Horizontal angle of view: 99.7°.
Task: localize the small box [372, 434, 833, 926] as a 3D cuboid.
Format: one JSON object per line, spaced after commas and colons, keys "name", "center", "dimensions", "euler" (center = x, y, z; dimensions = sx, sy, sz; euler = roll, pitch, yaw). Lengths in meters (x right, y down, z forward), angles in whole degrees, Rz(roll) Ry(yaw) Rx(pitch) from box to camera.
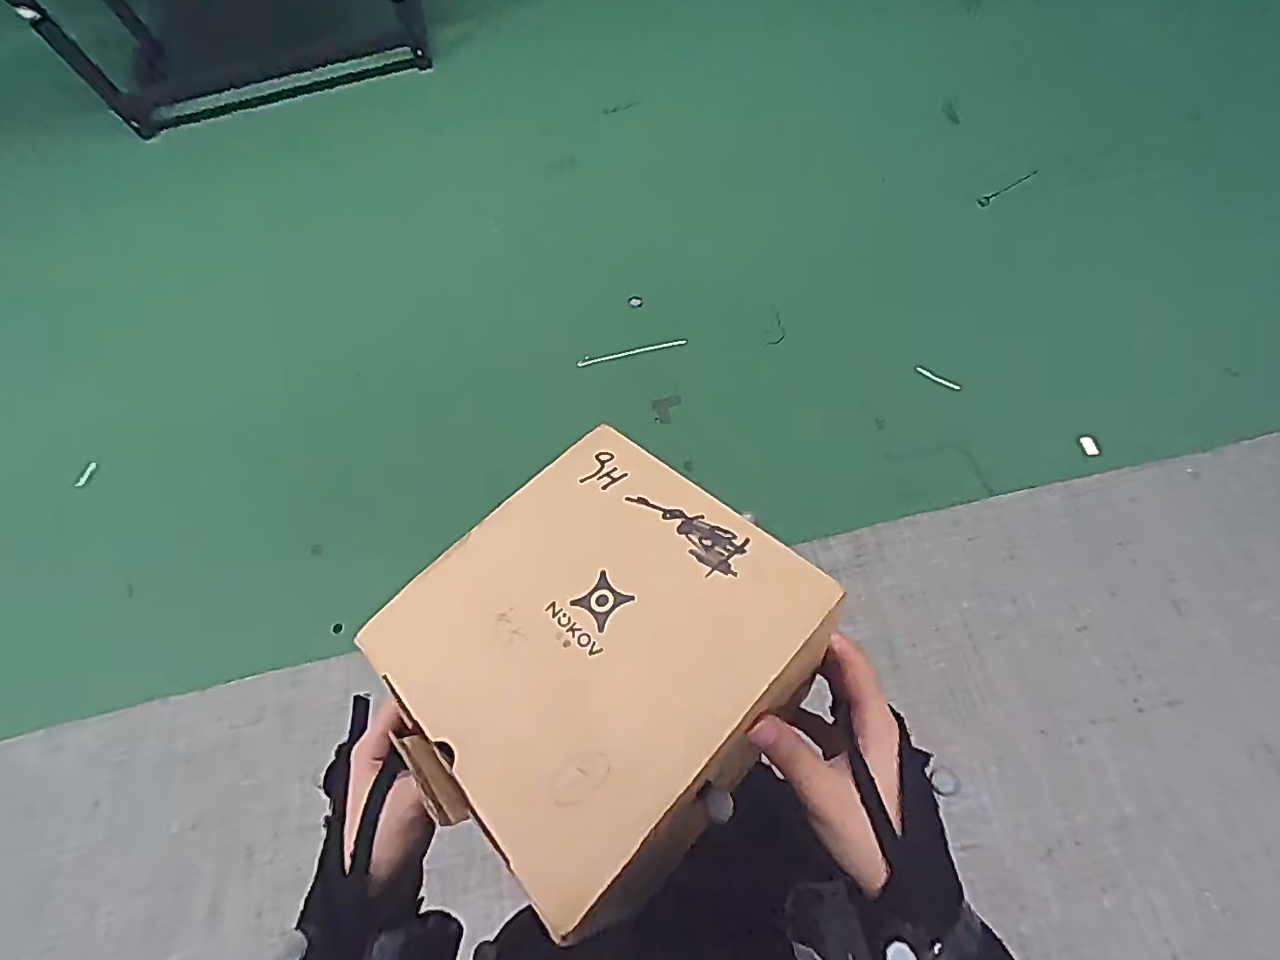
{"name": "small box", "center": [-0.009, 0.113, 0.326], "dimensions": [0.168, 0.176, 0.179], "euler": [36, 68, 30]}
